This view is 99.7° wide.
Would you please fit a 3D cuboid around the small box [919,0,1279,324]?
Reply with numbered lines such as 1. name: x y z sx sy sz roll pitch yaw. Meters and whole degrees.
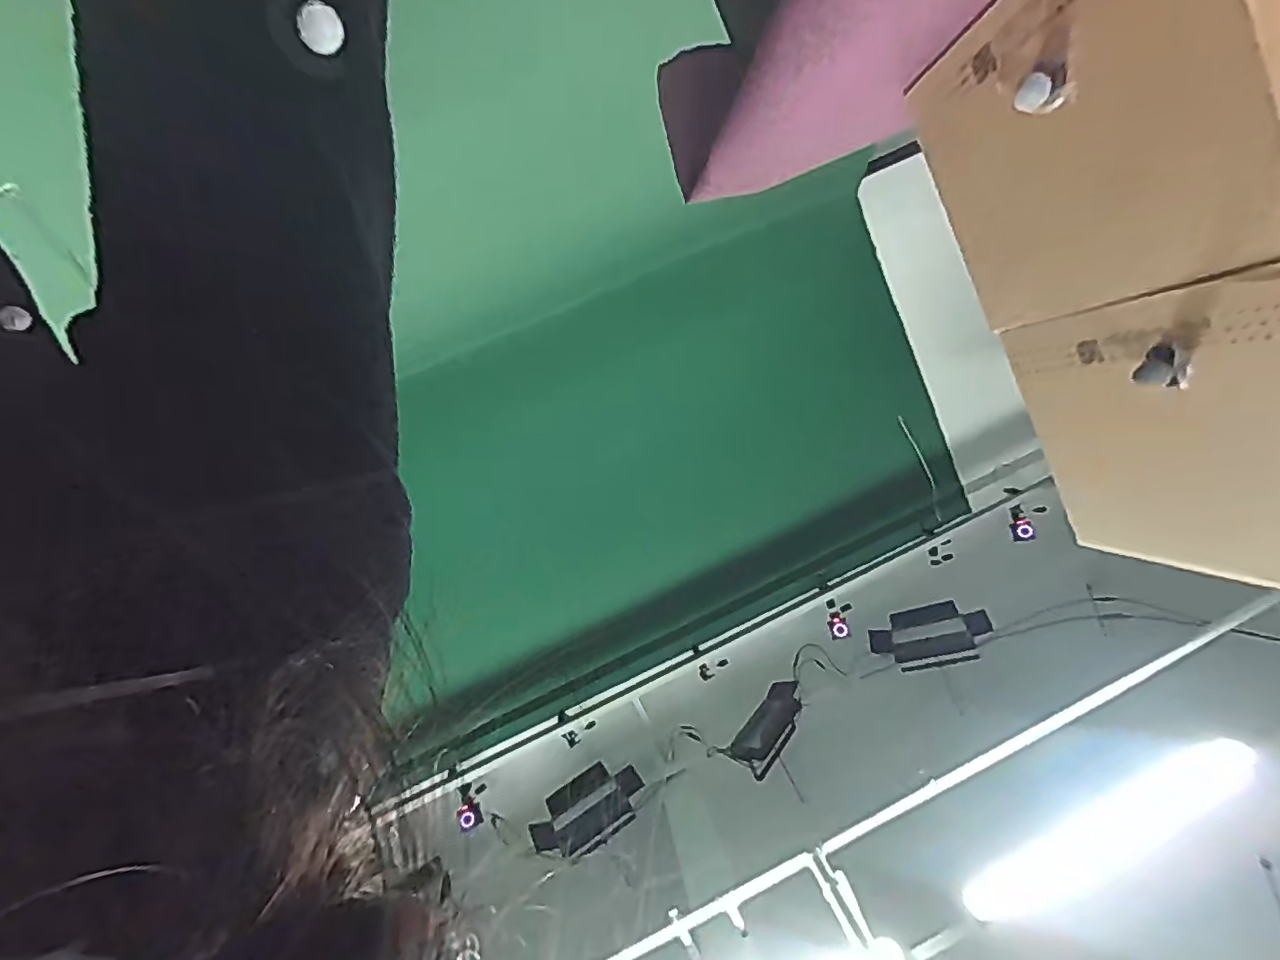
1. small box: 0.294 -0.211 0.284 0.179 0.176 0.168 -26 -174 -6

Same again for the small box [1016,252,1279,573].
1. small box: 0.366 -0.066 0.298 0.179 0.176 0.168 -26 -174 -3
